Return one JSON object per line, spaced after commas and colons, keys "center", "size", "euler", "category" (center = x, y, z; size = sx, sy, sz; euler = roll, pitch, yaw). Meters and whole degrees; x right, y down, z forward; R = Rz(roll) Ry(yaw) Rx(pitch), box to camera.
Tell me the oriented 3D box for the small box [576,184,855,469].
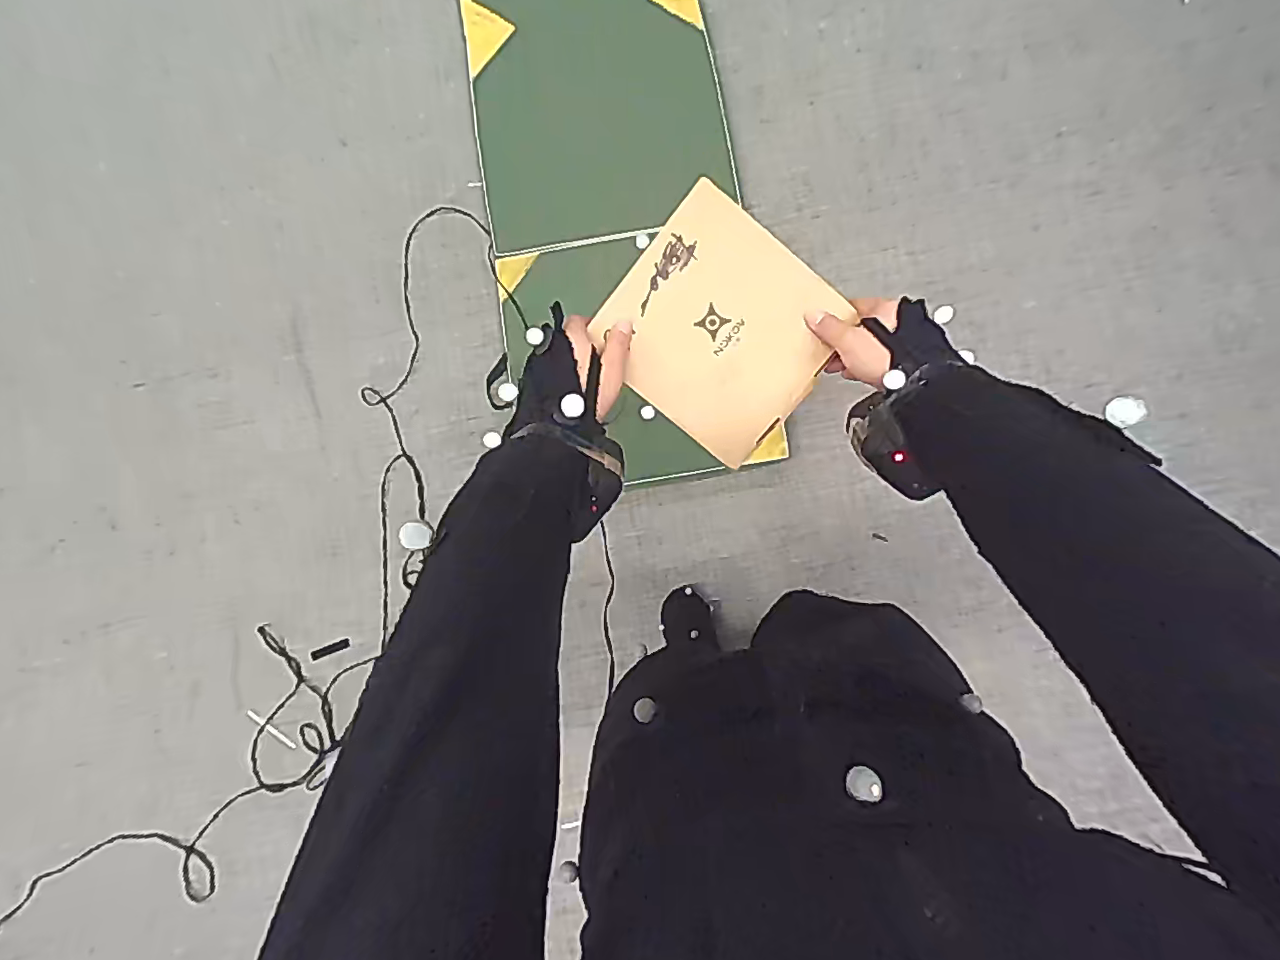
{"center": [0.063, -0.137, 0.527], "size": [0.179, 0.176, 0.168], "euler": [39, 97, -7], "category": "small box"}
